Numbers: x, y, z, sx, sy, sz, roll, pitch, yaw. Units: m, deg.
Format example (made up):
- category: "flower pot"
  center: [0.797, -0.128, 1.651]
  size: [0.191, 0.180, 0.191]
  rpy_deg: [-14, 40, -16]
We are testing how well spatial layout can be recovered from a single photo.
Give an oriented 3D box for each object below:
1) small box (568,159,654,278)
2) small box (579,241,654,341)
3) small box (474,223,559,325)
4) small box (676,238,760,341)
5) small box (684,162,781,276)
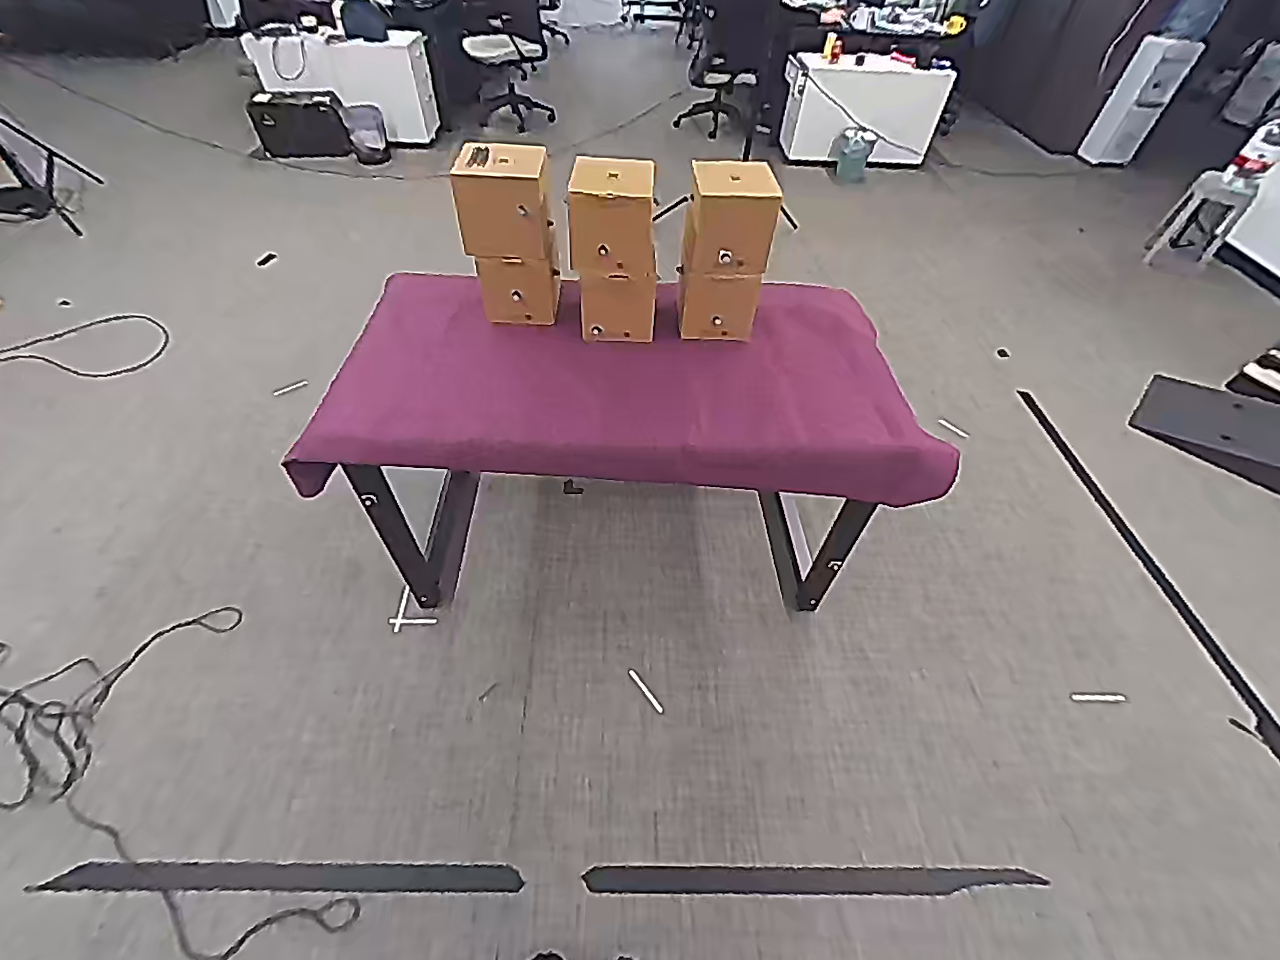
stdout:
- category: "small box"
  center: [-0.059, -0.553, 1.148]
  size: [0.168, 0.176, 0.179]
  rpy_deg: [3, 51, -1]
- category: "small box"
  center: [-0.053, -0.443, 1.269]
  size: [0.168, 0.176, 0.179]
  rpy_deg: [1, 49, -3]
- category: "small box"
  center: [-0.286, -0.490, 1.294]
  size: [0.168, 0.176, 0.179]
  rpy_deg: [1, 51, -3]
- category: "small box"
  center: [0.178, -0.454, 1.292]
  size: [0.168, 0.176, 0.179]
  rpy_deg: [1, 50, -2]
- category: "small box"
  center: [0.190, -0.563, 1.171]
  size: [0.168, 0.176, 0.179]
  rpy_deg: [-1, 51, -3]
